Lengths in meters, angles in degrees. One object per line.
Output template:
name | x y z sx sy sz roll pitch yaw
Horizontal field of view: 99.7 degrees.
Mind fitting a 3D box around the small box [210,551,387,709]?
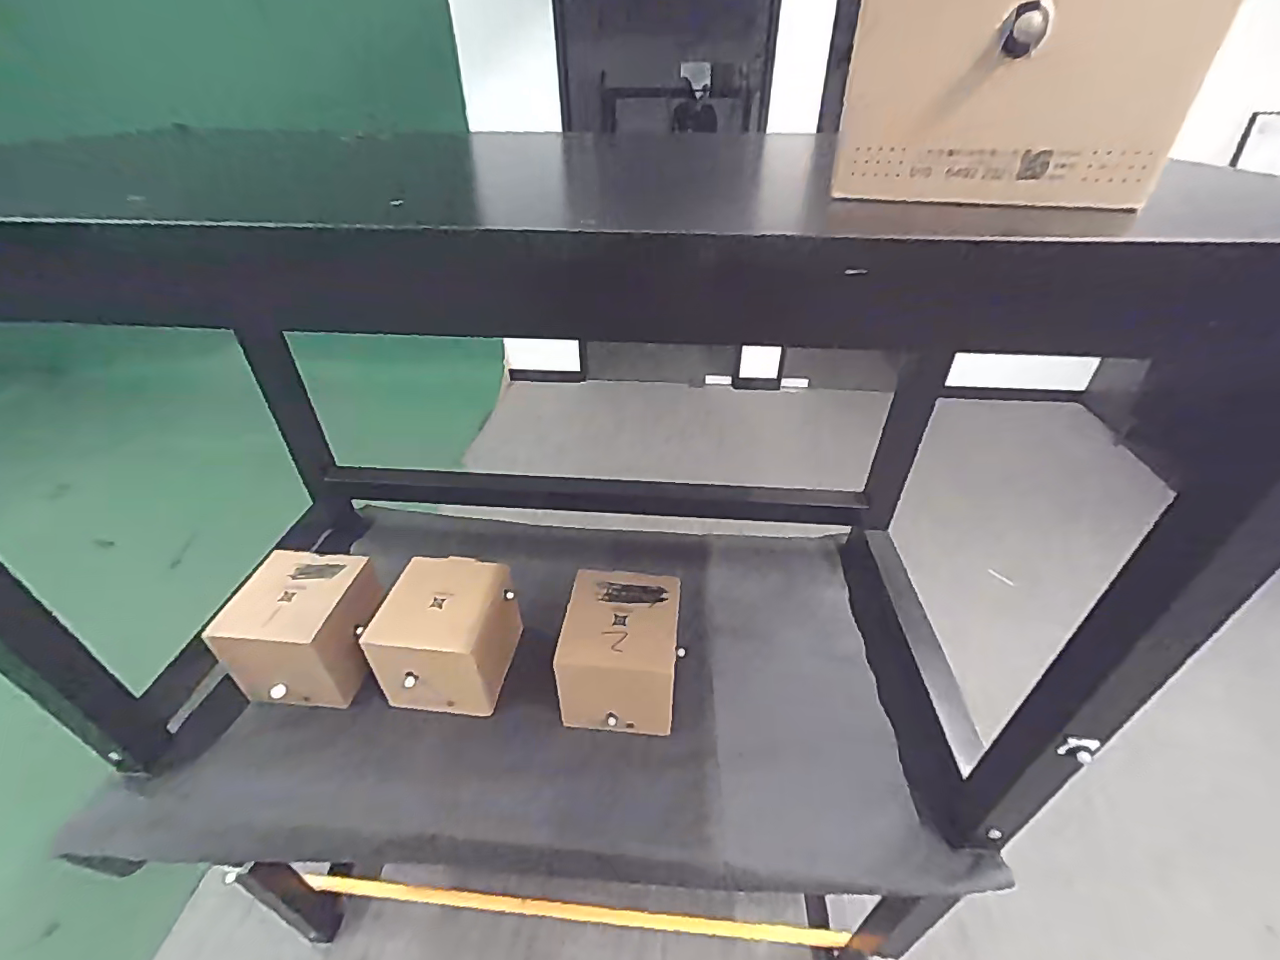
small box | -0.530 0.240 0.880 0.168 0.176 0.179 3 36 4

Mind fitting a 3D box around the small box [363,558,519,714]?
small box | -0.303 0.250 0.872 0.168 0.176 0.179 4 36 5

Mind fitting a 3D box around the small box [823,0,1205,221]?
small box | 0.219 -0.273 0.347 0.168 0.176 0.179 10 37 13
